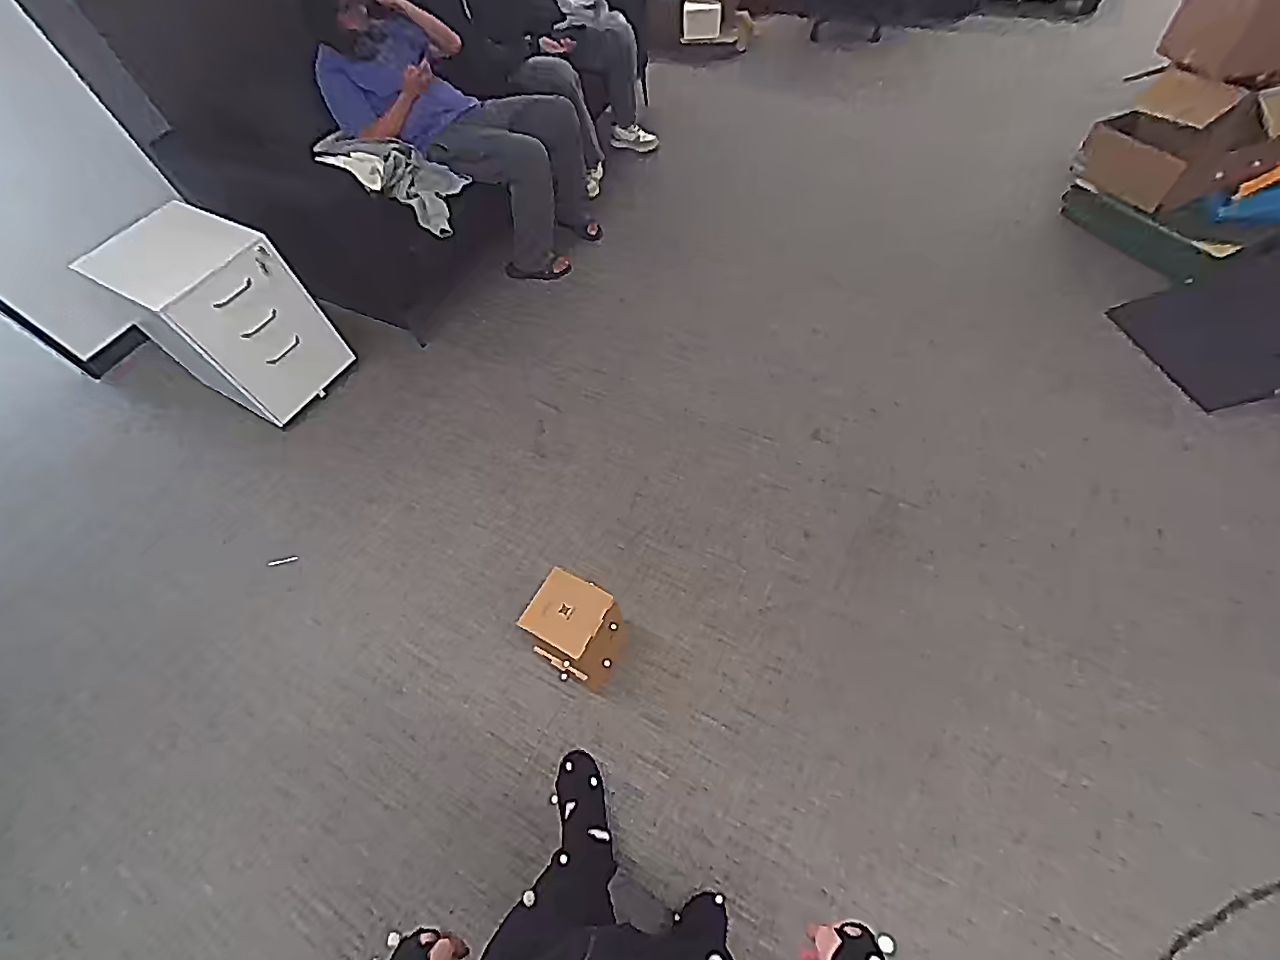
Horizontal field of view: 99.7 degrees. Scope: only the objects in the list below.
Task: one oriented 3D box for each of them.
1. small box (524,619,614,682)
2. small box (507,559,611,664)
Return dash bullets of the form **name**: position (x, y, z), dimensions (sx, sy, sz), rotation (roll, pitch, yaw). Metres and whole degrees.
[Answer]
- **small box**: position (-0.182, 0.423, 1.467), dimensions (0.168, 0.176, 0.179), rotation (22, 62, 18)
- **small box**: position (-0.187, 0.326, 1.313), dimensions (0.179, 0.176, 0.168), rotation (23, 62, 19)
